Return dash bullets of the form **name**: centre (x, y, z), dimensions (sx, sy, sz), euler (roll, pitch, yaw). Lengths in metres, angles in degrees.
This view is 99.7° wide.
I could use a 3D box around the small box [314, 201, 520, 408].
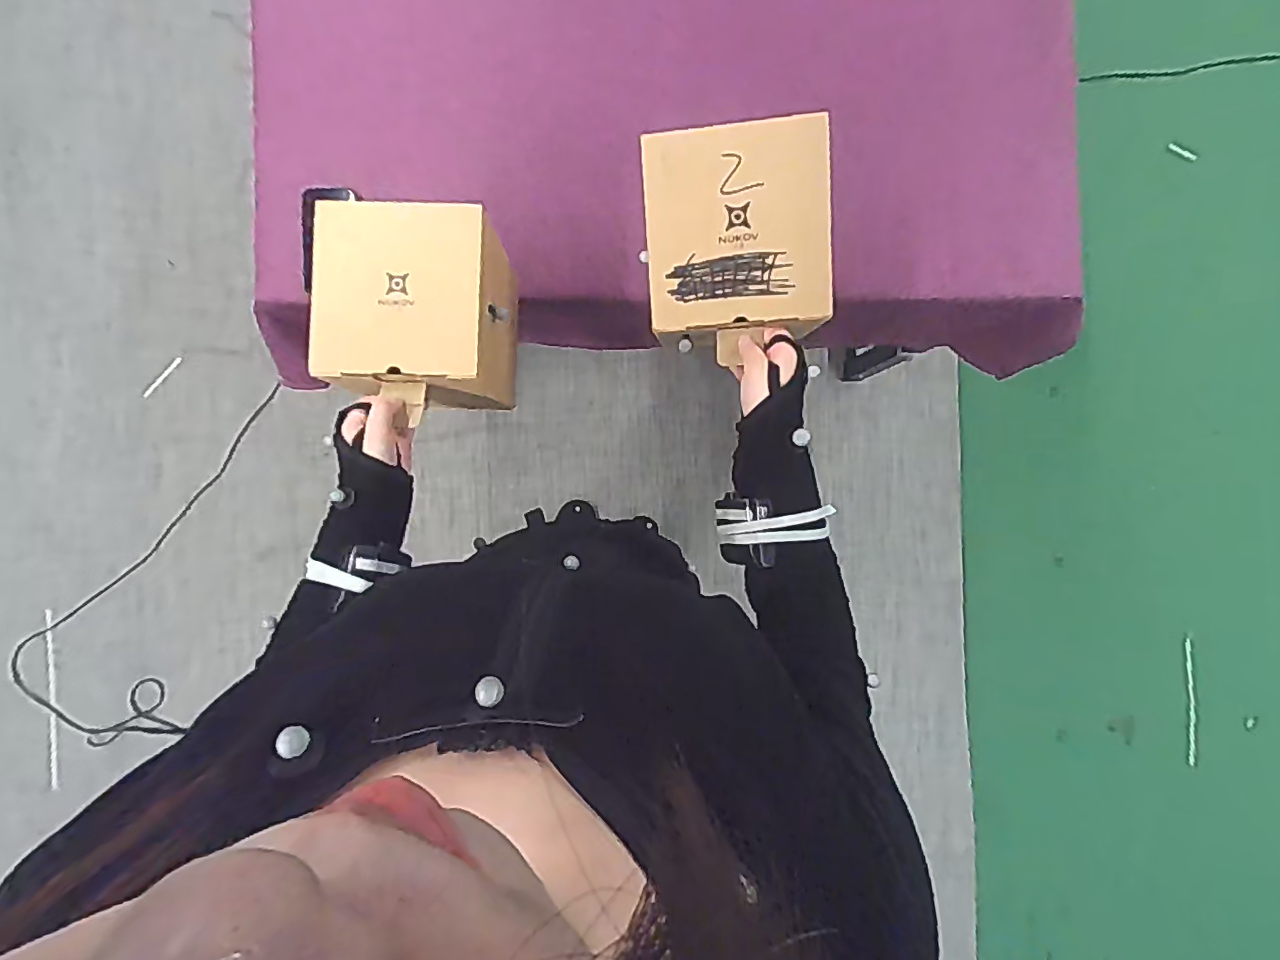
- **small box**: centre (-0.238, -0.186, 0.617), dimensions (0.168, 0.176, 0.179), euler (1, 87, -1)
